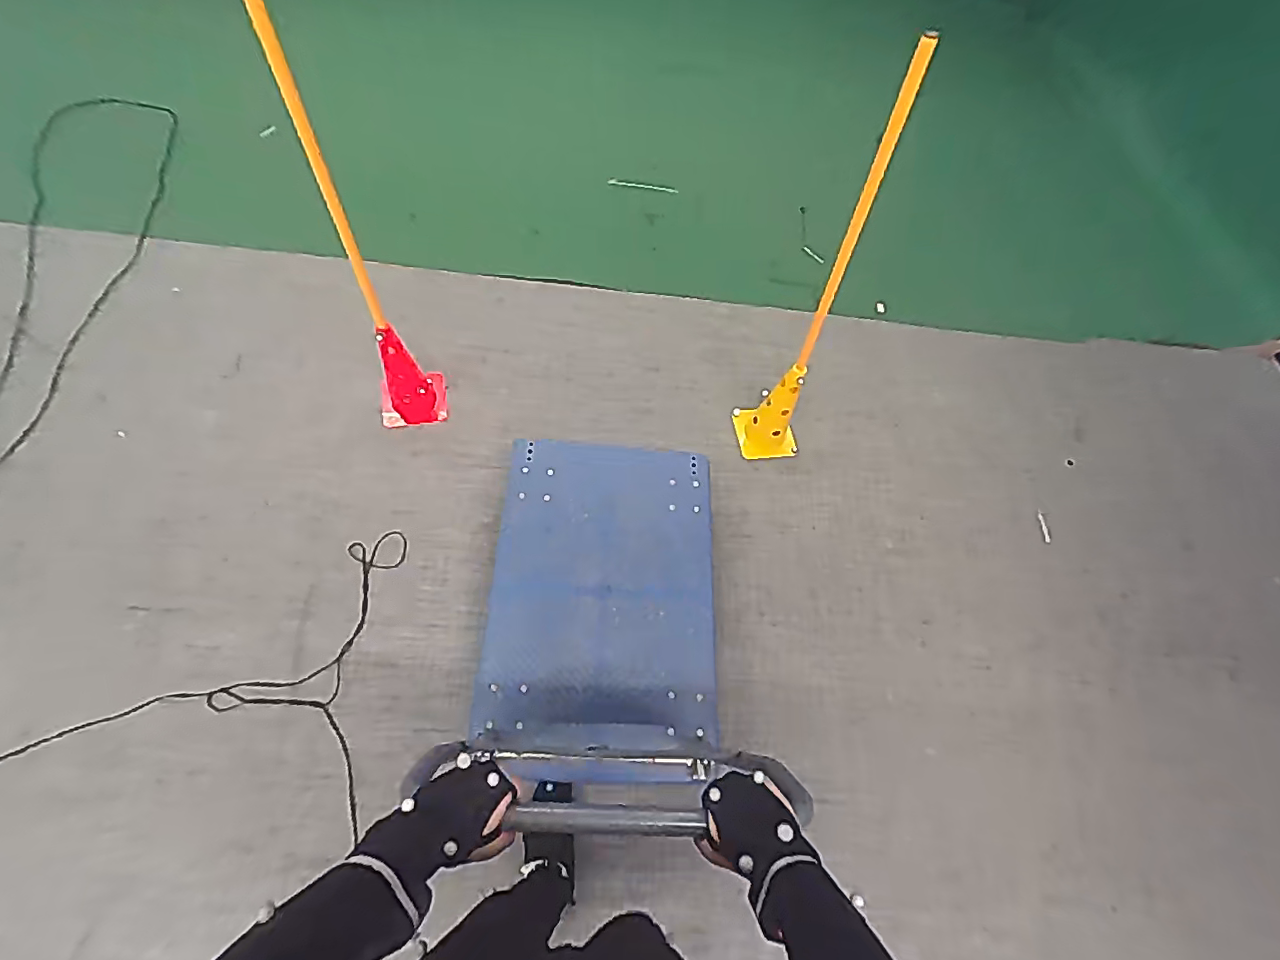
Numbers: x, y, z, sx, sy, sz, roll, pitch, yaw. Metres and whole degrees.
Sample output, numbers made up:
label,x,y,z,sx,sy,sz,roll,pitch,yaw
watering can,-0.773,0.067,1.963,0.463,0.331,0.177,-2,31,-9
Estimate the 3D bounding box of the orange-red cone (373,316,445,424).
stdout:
label,x,y,z,sx,sy,sz,roll,pitch,yaw
orange-red cone,-0.728,-0.351,1.622,0.199,0.360,0.198,-9,64,-10
